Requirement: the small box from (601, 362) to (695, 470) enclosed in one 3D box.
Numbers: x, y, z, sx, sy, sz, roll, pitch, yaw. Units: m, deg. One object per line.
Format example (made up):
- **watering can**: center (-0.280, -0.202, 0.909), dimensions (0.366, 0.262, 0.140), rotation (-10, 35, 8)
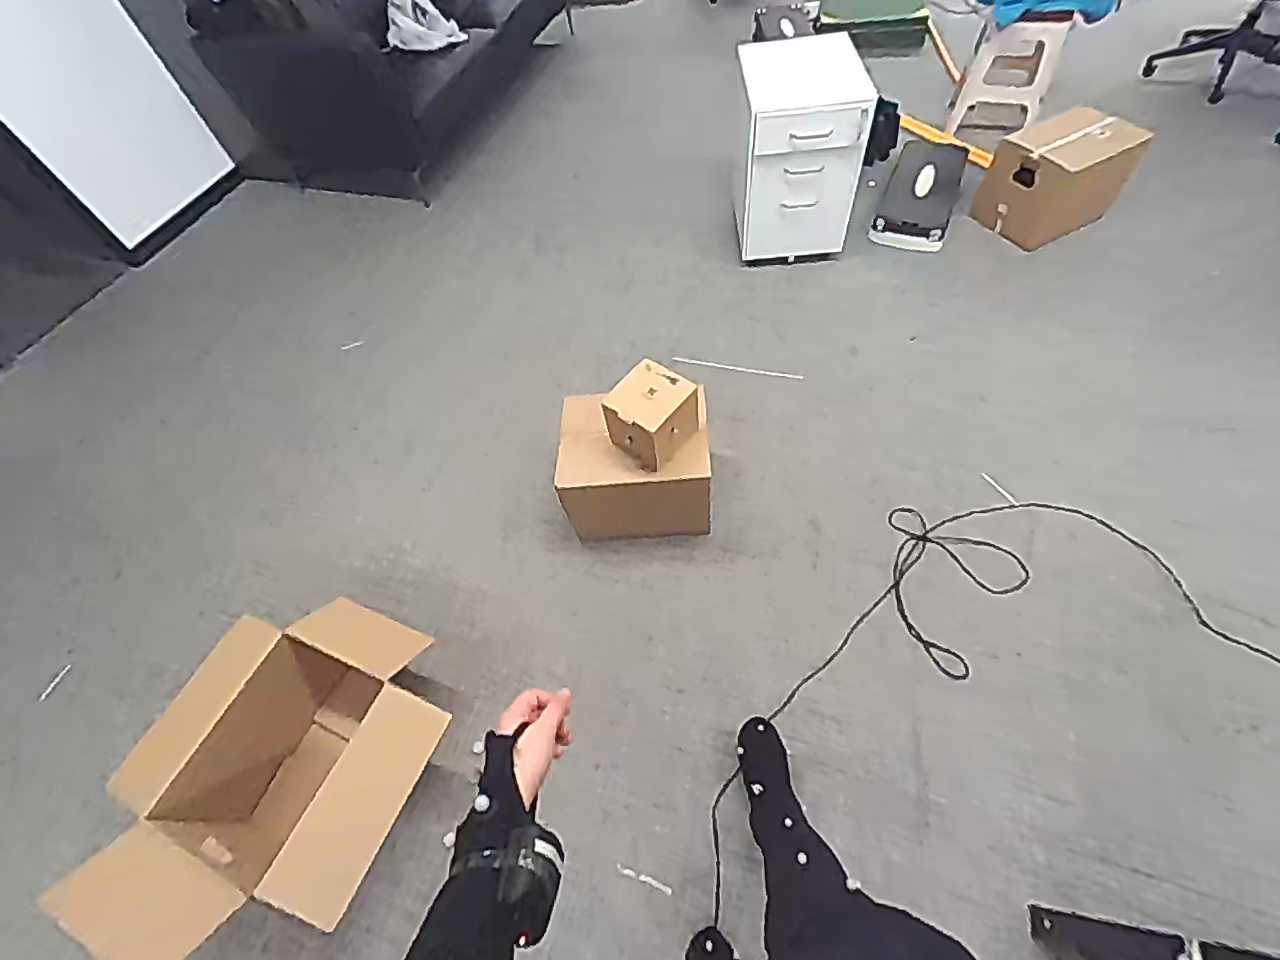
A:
- **small box**: center (0.029, -0.157, 1.370), dimensions (0.168, 0.176, 0.179), rotation (33, 68, 24)
